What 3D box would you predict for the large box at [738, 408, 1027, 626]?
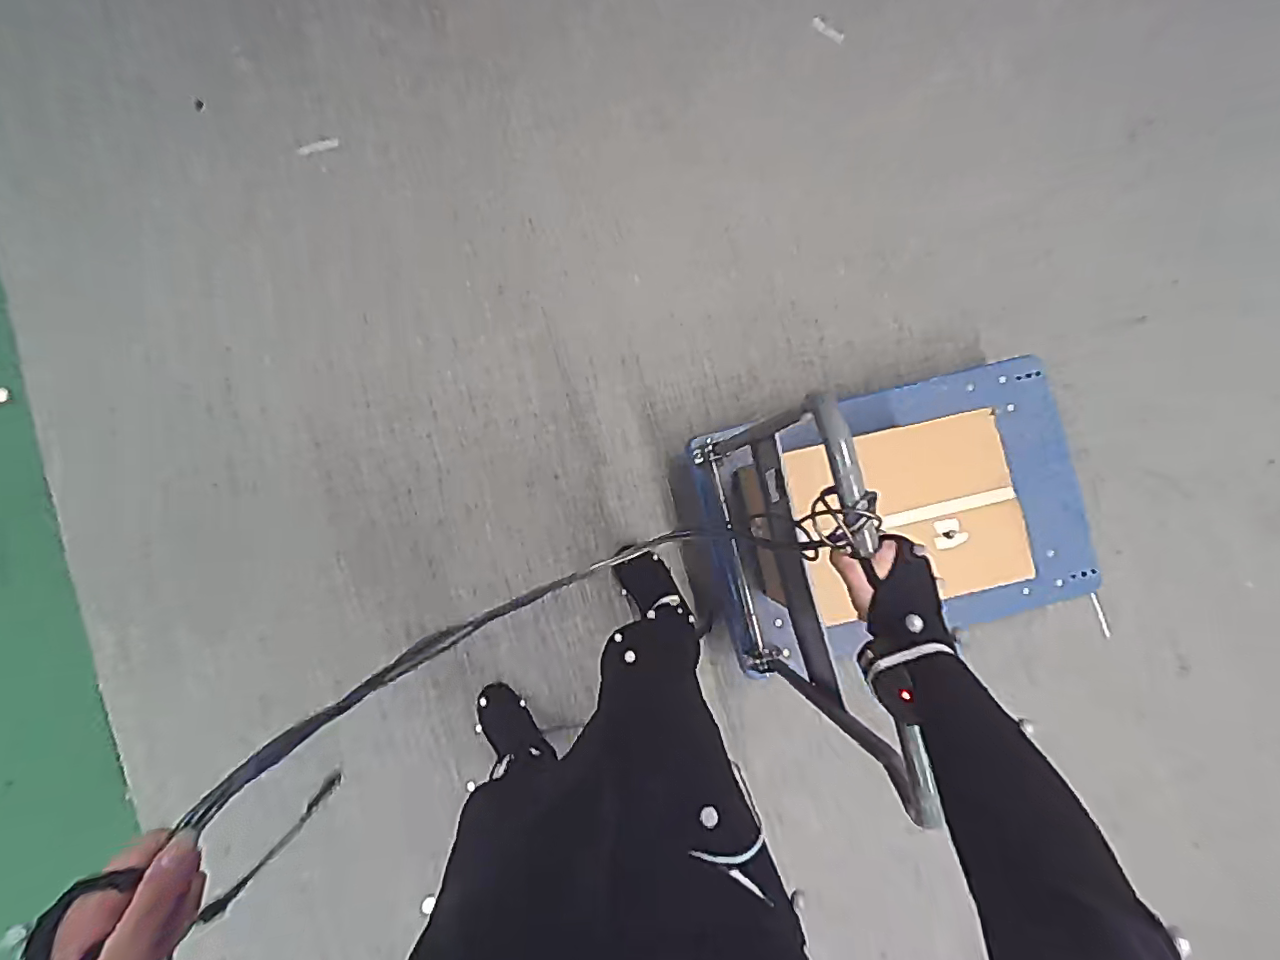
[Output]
[{"bbox_3d":[0.455,0.072,1.104,0.408,0.320,0.320,-12,88,-3],"label":"large box"}]
